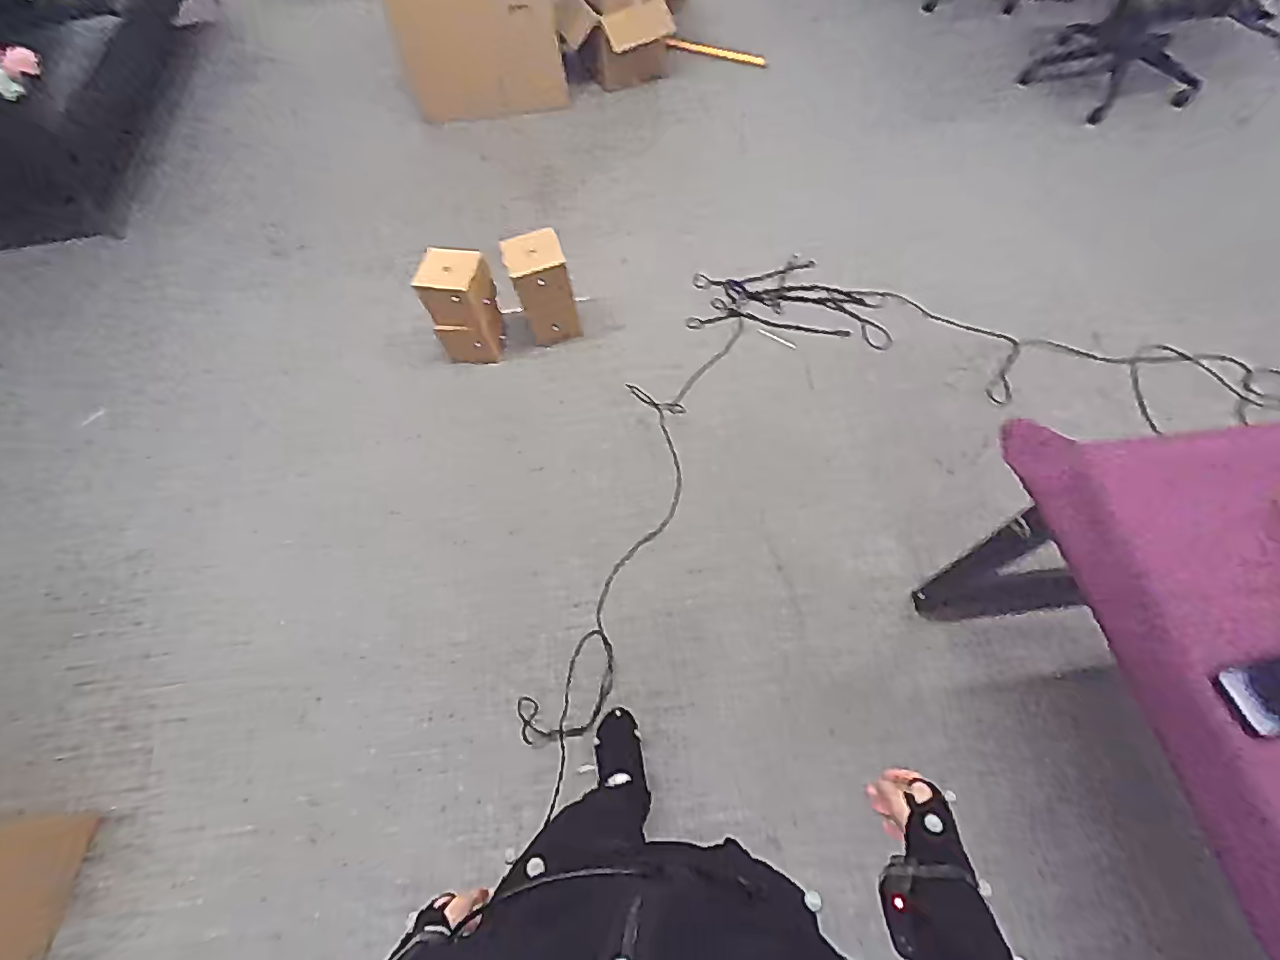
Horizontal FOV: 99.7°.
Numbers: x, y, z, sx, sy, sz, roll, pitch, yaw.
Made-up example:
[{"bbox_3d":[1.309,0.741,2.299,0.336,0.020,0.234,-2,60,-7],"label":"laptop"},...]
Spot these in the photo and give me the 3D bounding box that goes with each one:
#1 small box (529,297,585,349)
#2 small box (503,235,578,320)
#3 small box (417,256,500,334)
[{"bbox_3d":[-0.295,-0.576,1.872,0.168,0.176,0.179,-14,62,-2],"label":"small box"},{"bbox_3d":[-0.314,-0.639,1.722,0.179,0.176,0.168,-18,63,-4],"label":"small box"},{"bbox_3d":[-0.571,-0.587,1.723,0.179,0.176,0.168,8,63,8],"label":"small box"}]
